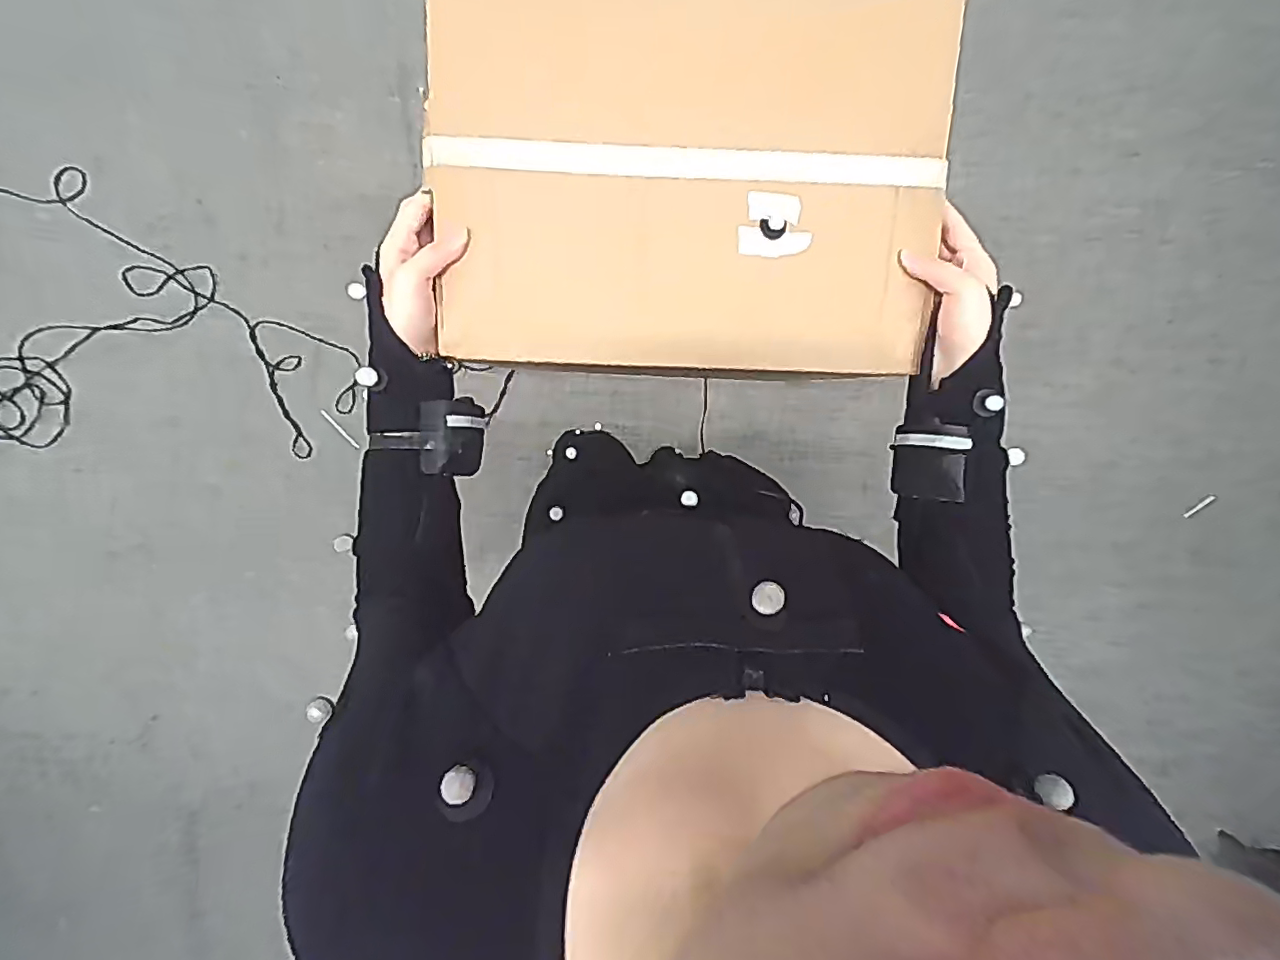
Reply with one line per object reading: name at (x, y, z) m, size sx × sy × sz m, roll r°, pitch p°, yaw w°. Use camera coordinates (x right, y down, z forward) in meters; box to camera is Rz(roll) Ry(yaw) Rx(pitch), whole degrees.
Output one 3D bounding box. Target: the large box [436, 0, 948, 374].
large box at (0.034, -0.277, 0.580) m, size 0.408 × 0.320 × 0.320 m, roll 1°, pitch 100°, yaw -3°
